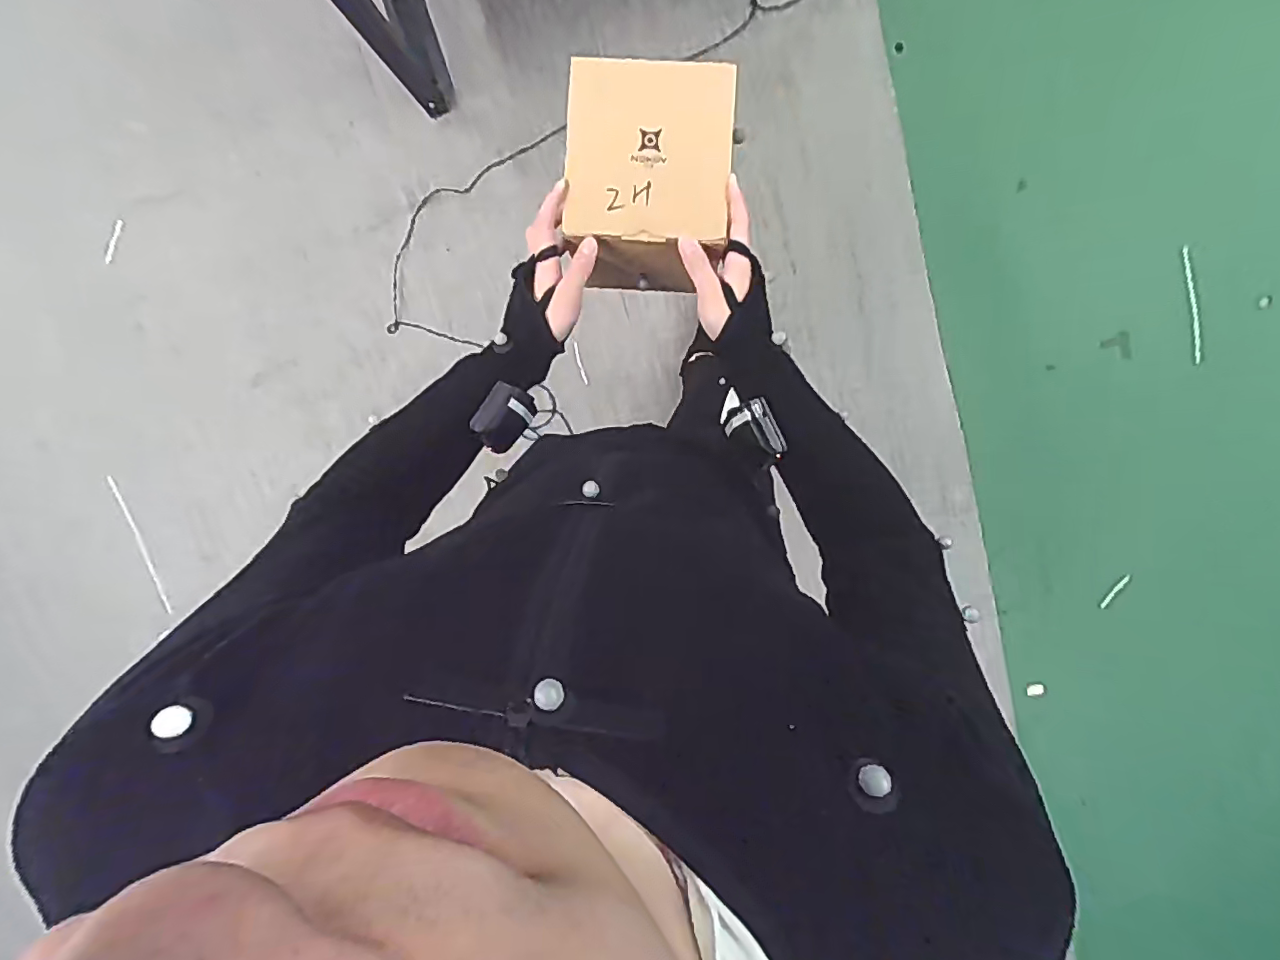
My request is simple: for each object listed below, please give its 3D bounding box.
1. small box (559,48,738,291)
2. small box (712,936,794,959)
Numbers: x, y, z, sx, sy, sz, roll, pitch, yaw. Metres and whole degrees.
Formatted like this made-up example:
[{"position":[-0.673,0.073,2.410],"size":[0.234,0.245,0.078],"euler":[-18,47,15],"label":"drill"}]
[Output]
[{"position":[0.009,-0.332,0.609],"size":[0.168,0.176,0.179],"euler":[4,92,1],"label":"small box"},{"position":[0.252,1.083,1.106],"size":[0.168,0.176,0.179],"euler":[-16,100,5],"label":"small box"}]
